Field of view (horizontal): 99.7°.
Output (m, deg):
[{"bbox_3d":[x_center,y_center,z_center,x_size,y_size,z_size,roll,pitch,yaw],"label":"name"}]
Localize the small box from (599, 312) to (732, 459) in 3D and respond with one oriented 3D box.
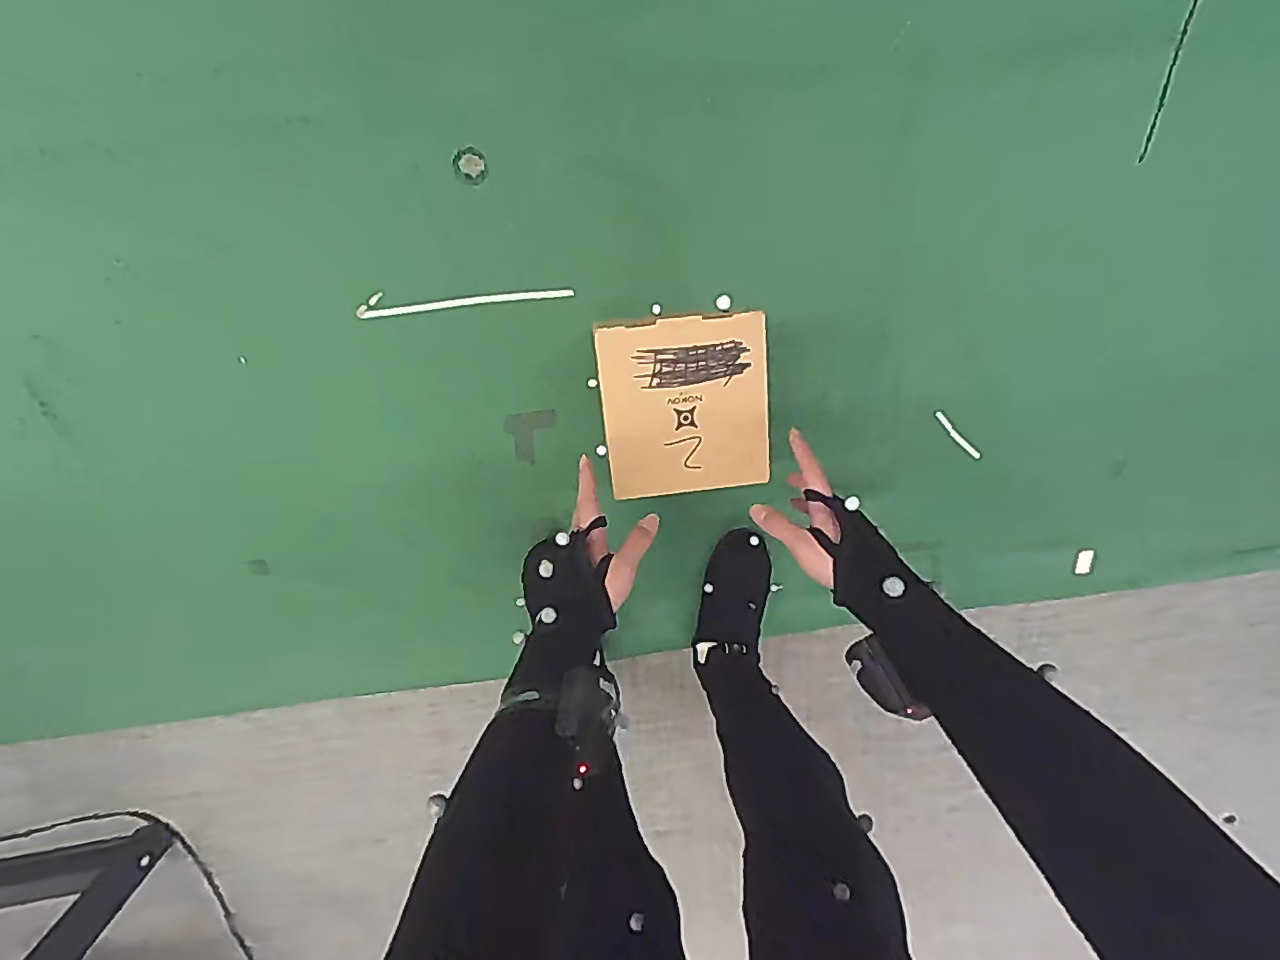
[{"bbox_3d":[0.030,-0.140,0.767,0.168,0.176,0.179,-6,108,-1],"label":"small box"}]
